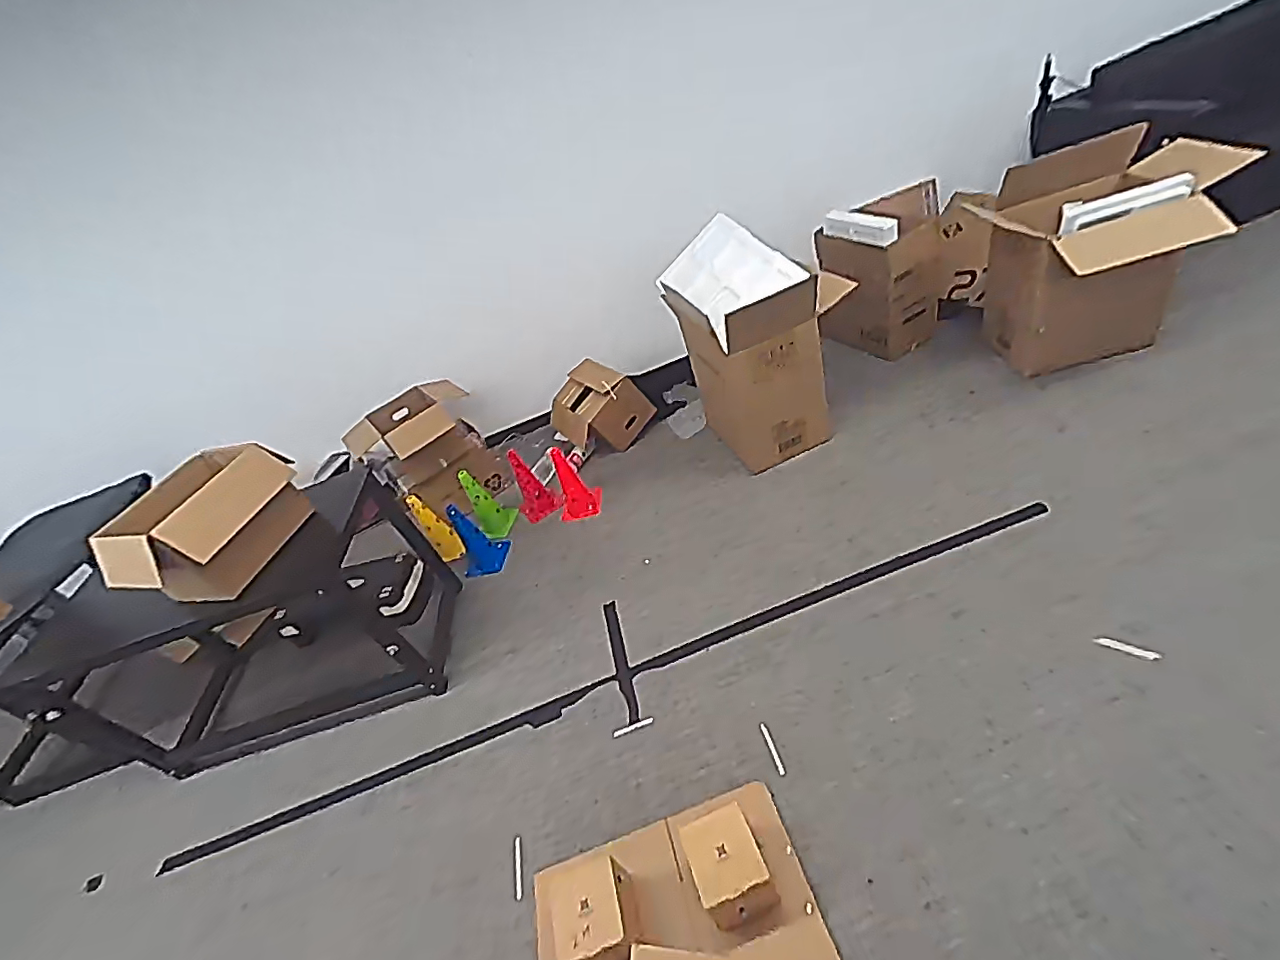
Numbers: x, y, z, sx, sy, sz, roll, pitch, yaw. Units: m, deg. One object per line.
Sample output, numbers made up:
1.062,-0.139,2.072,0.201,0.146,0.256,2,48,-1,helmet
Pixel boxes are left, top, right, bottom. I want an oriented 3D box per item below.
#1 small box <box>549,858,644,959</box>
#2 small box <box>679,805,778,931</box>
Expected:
-0.105,1.066,1.307,0.168,0.176,0.179,-23,37,0,small box
0.215,0.941,1.312,0.168,0.176,0.179,-25,37,-4,small box
